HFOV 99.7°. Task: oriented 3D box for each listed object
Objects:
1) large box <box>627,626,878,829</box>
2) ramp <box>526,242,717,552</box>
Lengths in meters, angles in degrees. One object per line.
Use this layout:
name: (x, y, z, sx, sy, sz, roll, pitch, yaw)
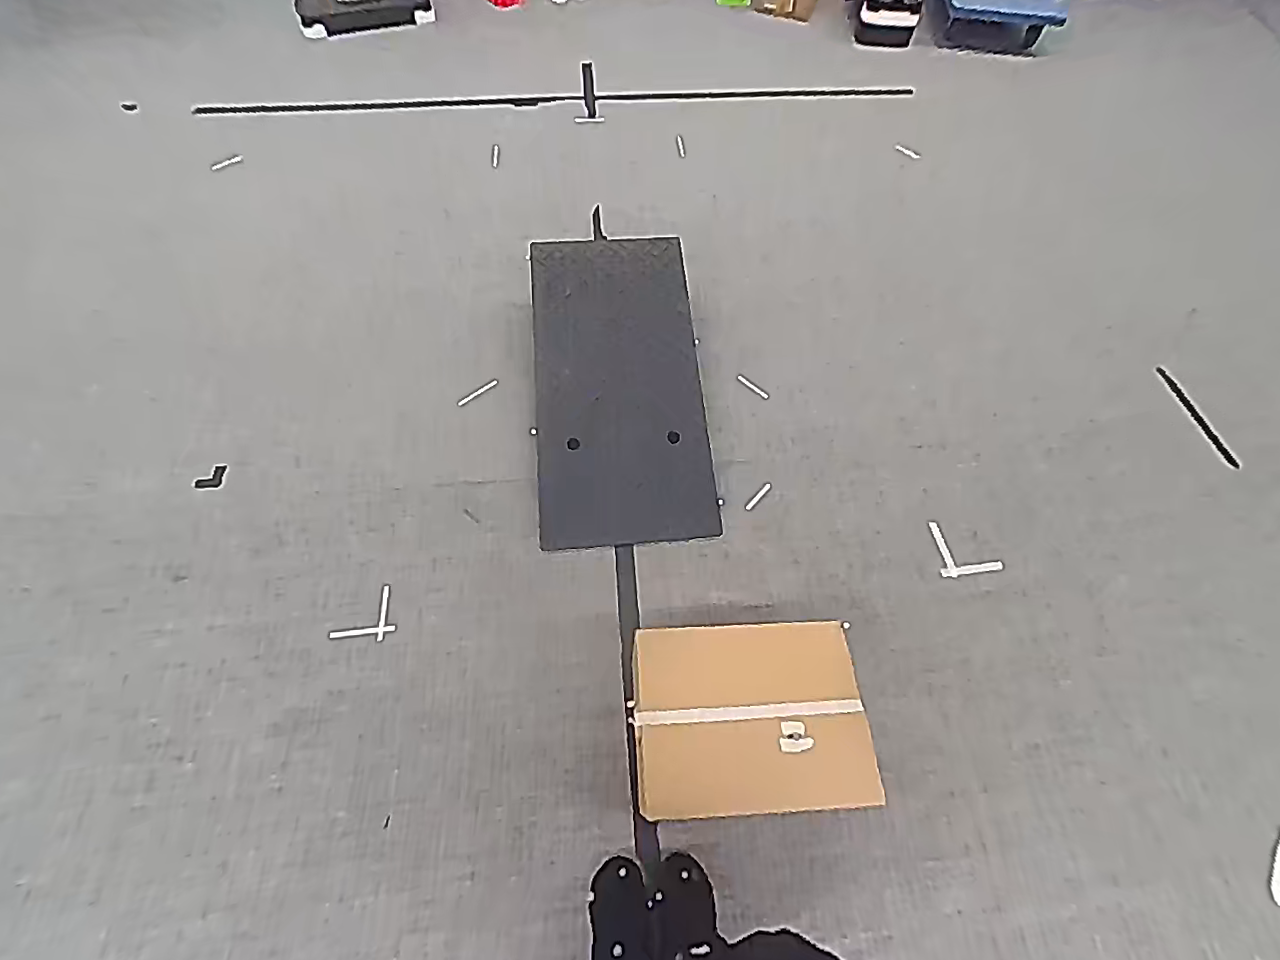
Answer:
large box: (0.187, 0.502, 1.097, 0.408, 0.320, 0.320, -2, 60, -4)
ramp: (-0.076, -0.295, 1.605, 0.509, 0.206, 0.991, -5, 61, -6)
